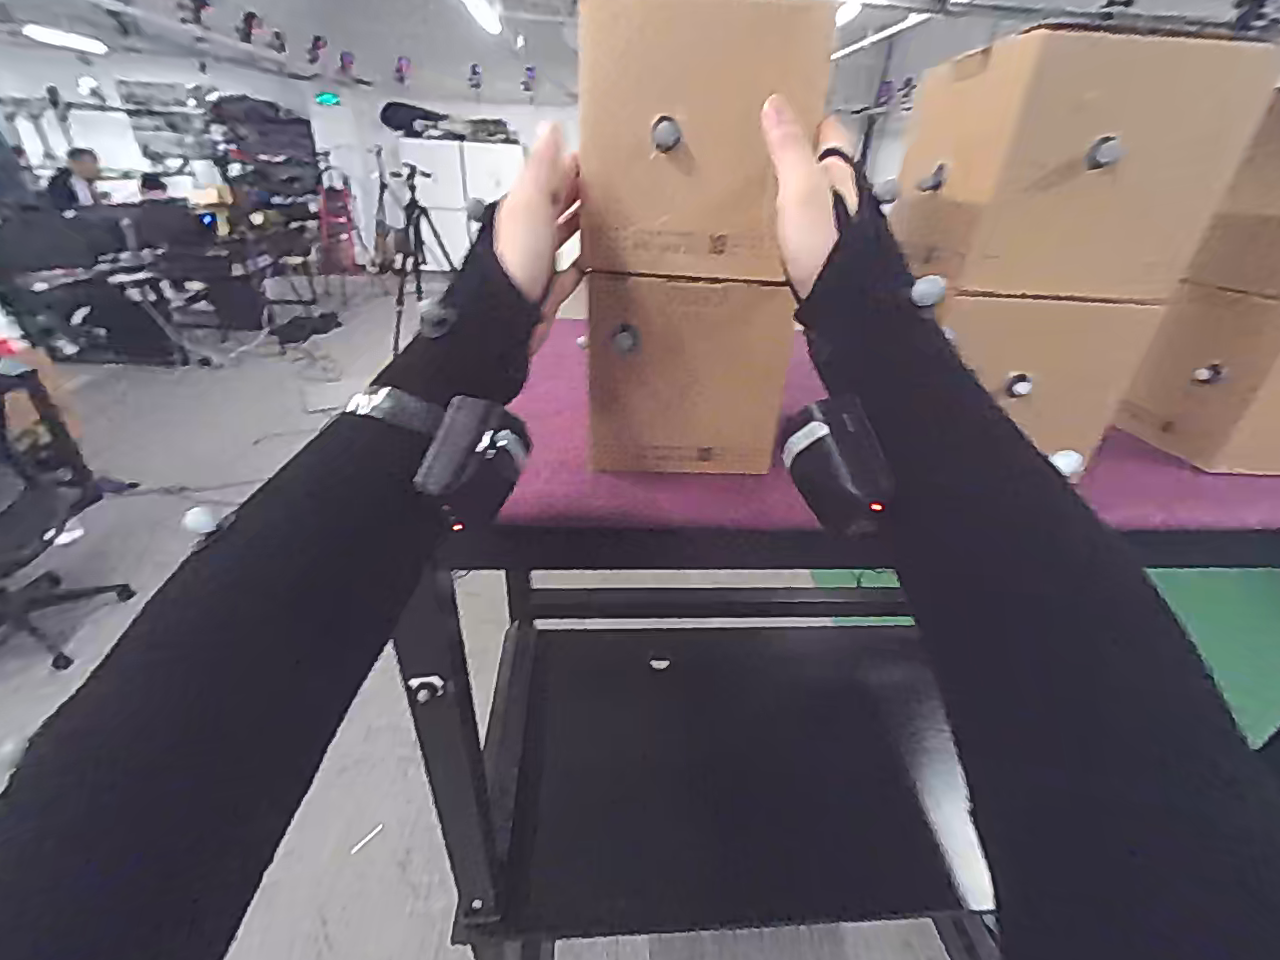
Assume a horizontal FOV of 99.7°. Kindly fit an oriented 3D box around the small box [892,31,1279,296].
[{"bbox_3d":[0.340,-0.258,0.464,0.179,0.176,0.168,1,30,-1],"label":"small box"}]

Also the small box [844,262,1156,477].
[{"bbox_3d":[0.328,-0.113,0.540,0.179,0.176,0.168,2,29,1],"label":"small box"}]

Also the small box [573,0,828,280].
[{"bbox_3d":[0.045,-0.266,0.451,0.168,0.176,0.179,4,27,4],"label":"small box"}]

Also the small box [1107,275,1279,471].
[{"bbox_3d":[0.652,-0.114,0.572,0.179,0.176,0.168,2,30,-1],"label":"small box"}]
